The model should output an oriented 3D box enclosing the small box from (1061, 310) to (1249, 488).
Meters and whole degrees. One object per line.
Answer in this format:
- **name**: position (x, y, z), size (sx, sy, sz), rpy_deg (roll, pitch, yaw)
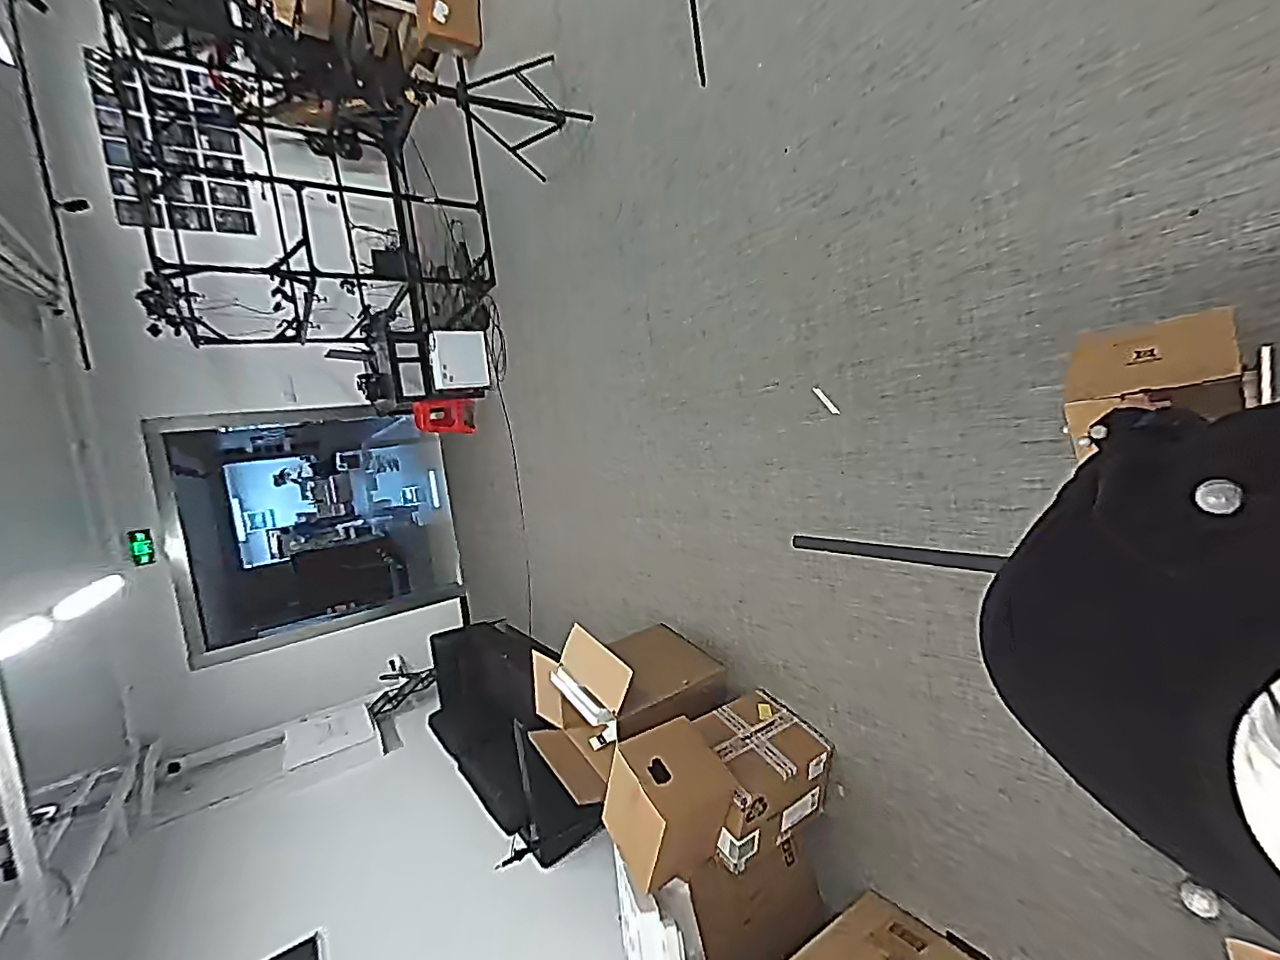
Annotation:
- **small box**: position (0.713, -0.100, 0.751), size (0.168, 0.179, 0.176), rpy_deg (-6, 125, 47)
